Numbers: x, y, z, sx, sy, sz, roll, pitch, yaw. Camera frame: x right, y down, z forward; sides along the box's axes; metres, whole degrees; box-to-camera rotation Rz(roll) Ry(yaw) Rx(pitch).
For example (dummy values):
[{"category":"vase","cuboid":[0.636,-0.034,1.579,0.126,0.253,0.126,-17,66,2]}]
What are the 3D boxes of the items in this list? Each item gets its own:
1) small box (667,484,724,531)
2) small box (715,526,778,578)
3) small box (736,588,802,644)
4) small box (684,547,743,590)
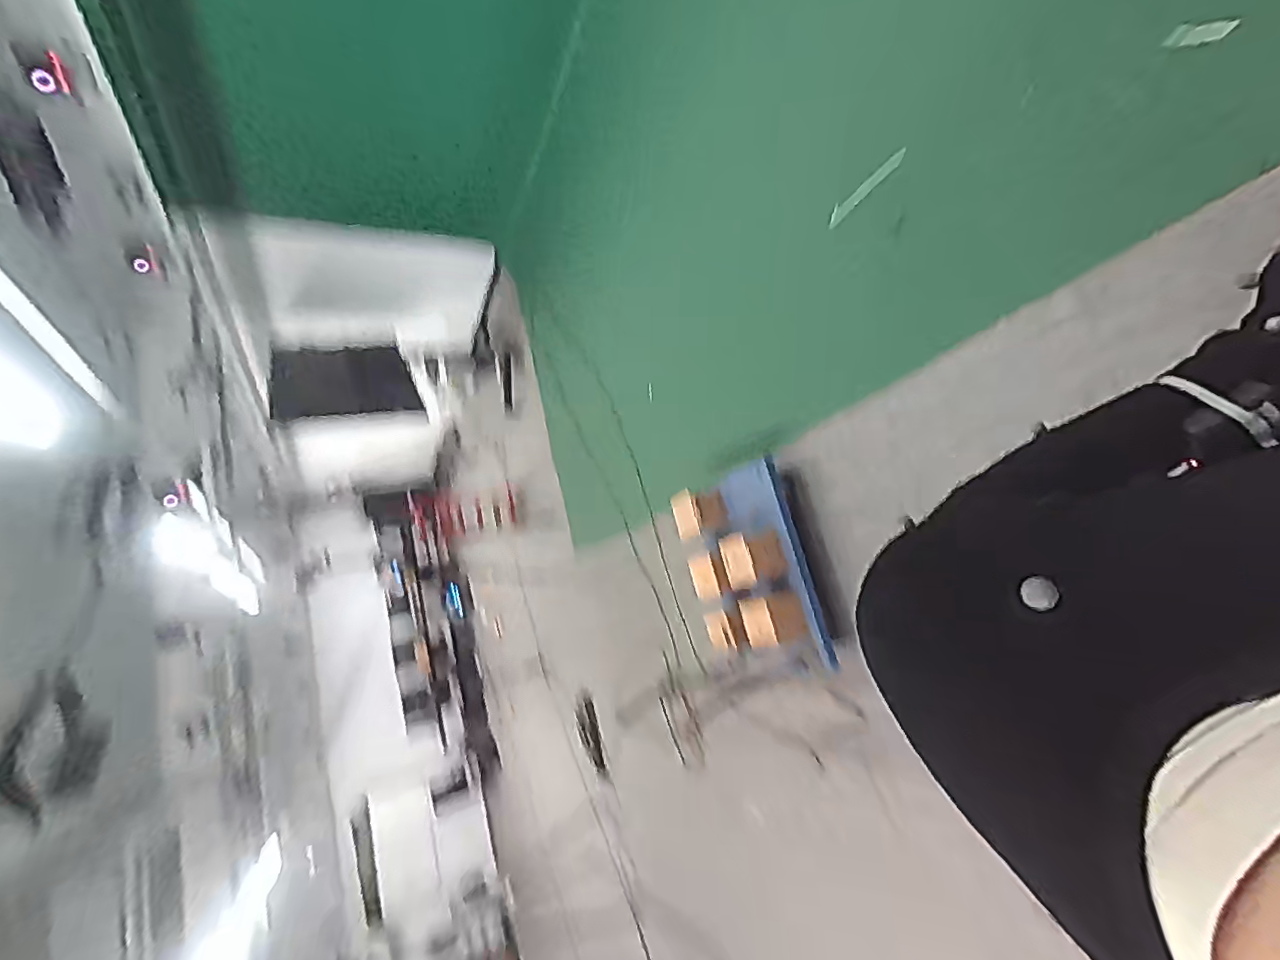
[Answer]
[{"category":"small box","cuboid":[0.253,0.124,2.461,0.179,0.176,0.168,-34,69,57]},{"category":"small box","cuboid":[0.437,0.290,2.183,0.179,0.176,0.168,-31,69,58]},{"category":"small box","cuboid":[0.509,0.533,2.120,0.168,0.176,0.179,-28,72,58]},{"category":"small box","cuboid":[0.327,0.388,2.403,0.179,0.176,0.168,-31,69,56]}]
